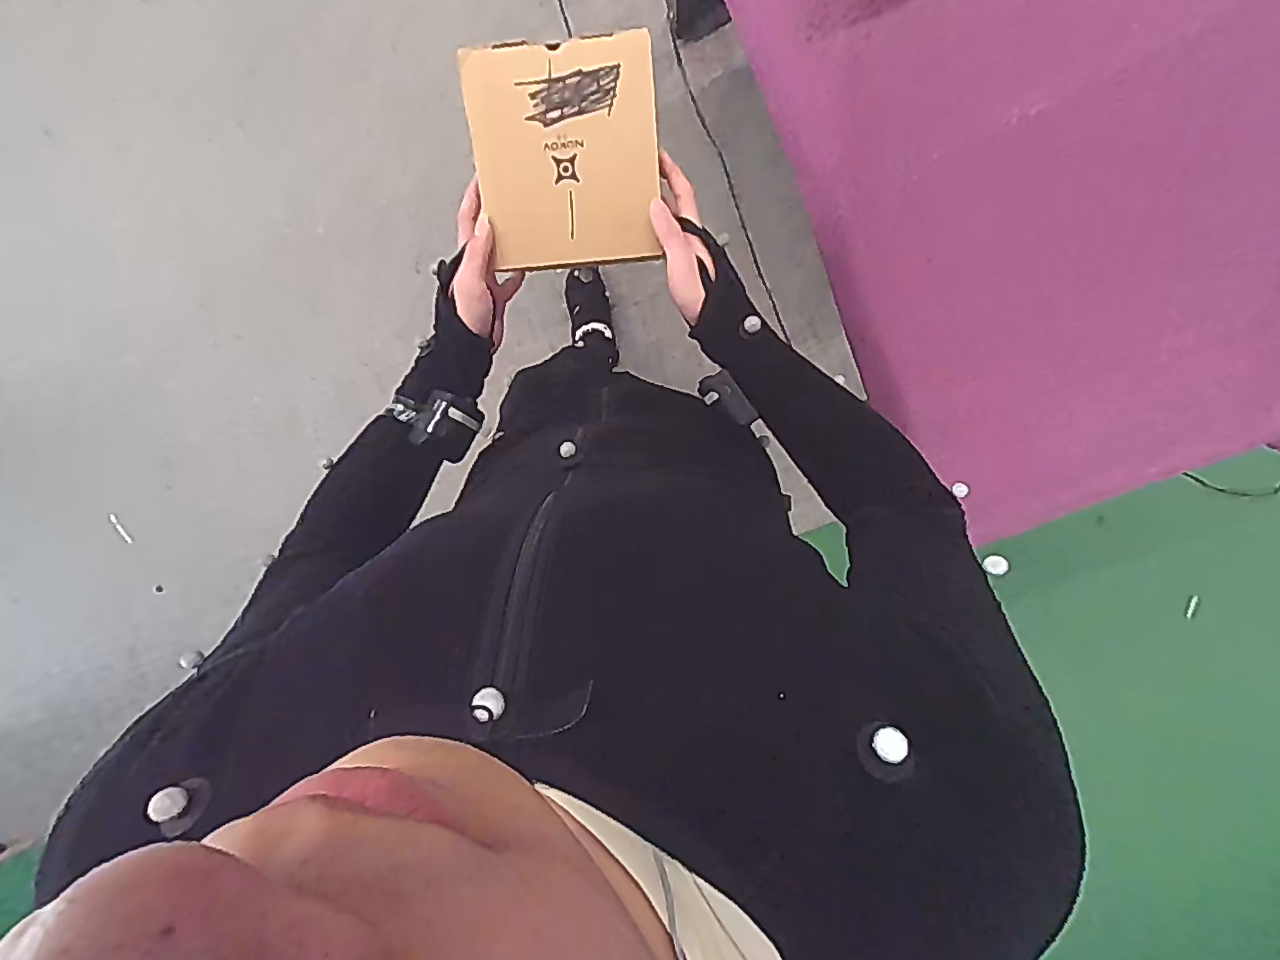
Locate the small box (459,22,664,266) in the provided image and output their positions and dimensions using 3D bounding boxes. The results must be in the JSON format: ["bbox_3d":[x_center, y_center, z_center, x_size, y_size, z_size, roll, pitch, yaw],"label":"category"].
[{"bbox_3d":[-0.064,-0.317,0.548,0.168,0.176,0.179,-4,112,3],"label":"small box"}]
